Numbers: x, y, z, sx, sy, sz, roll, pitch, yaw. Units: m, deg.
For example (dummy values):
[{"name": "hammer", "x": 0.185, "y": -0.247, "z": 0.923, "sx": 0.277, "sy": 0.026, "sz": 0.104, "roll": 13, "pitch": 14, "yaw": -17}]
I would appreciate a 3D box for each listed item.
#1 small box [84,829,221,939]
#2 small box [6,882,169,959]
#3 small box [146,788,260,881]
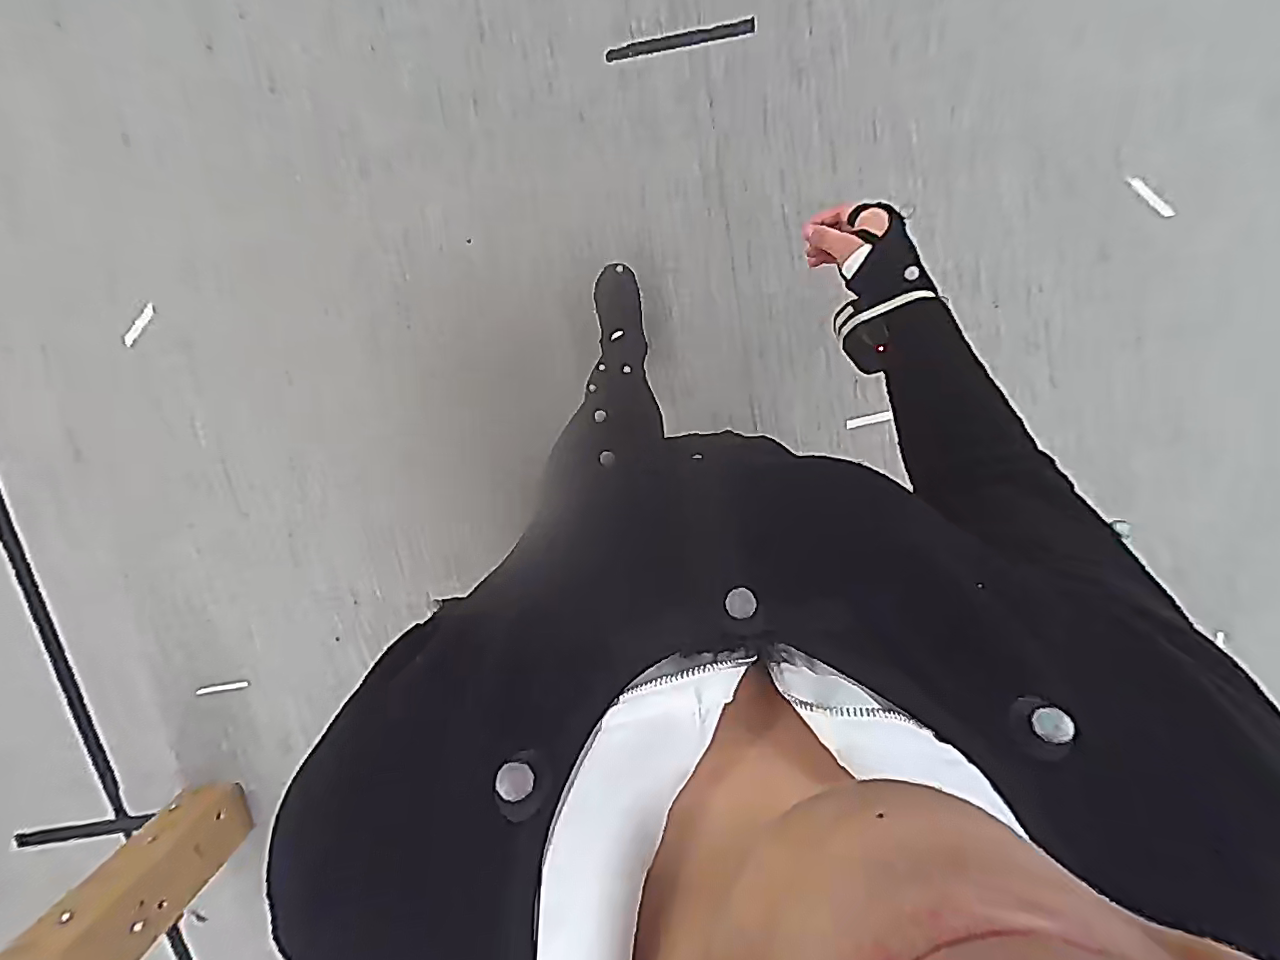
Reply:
[{"name": "small box", "x": -1.241, "y": 1.042, "z": 1.390, "sx": 0.179, "sy": 0.176, "sz": 0.168, "roll": -12, "pitch": 99, "yaw": 2}, {"name": "small box", "x": -1.241, "y": 1.063, "z": 1.226, "sx": 0.179, "sy": 0.176, "sz": 0.168, "roll": -12, "pitch": 99, "yaw": 1}, {"name": "small box", "x": -1.244, "y": 1.018, "z": 1.551, "sx": 0.168, "sy": 0.176, "sz": 0.179, "roll": -10, "pitch": 100, "yaw": 2}]
